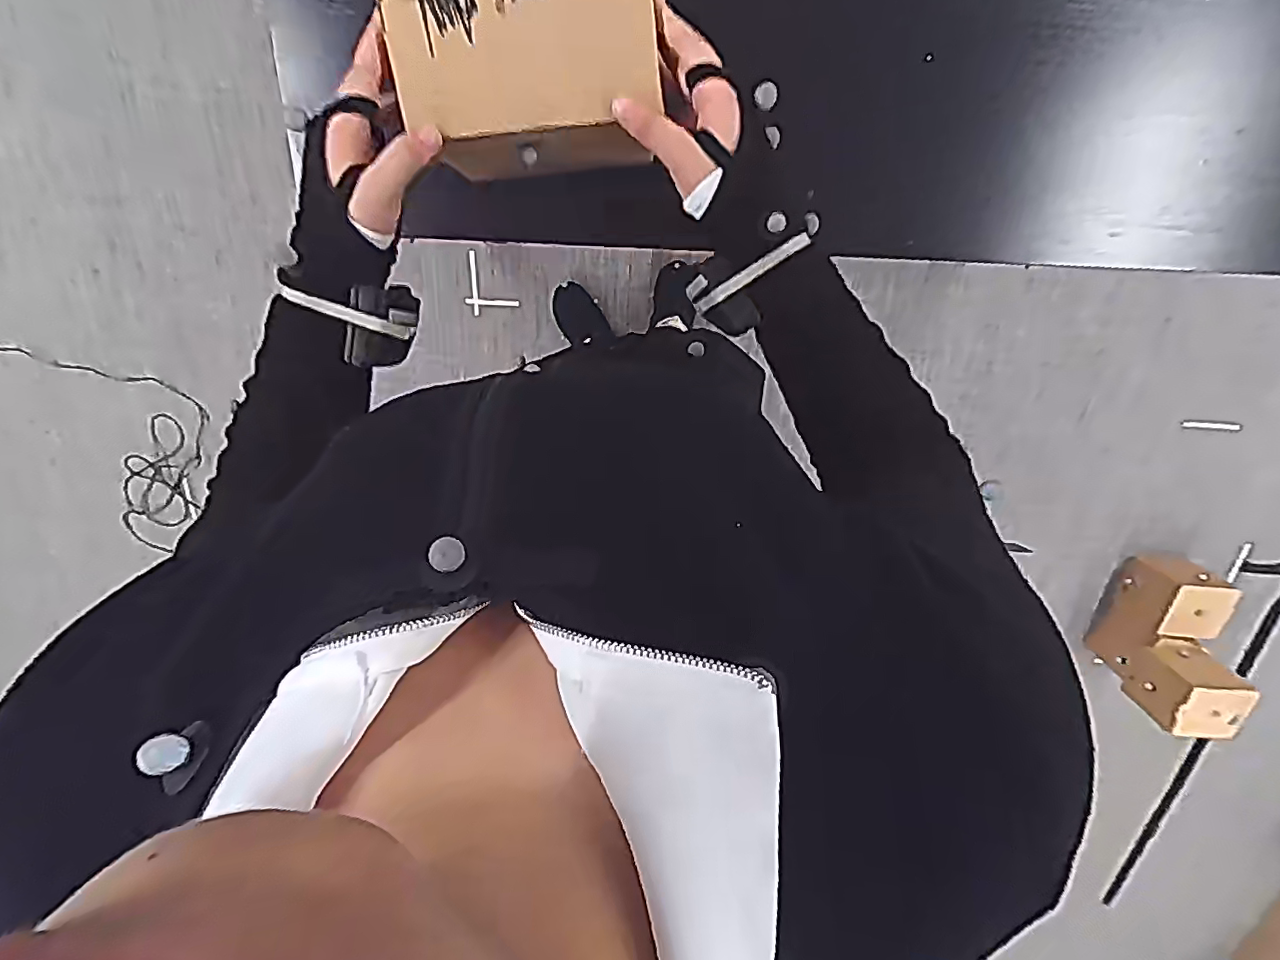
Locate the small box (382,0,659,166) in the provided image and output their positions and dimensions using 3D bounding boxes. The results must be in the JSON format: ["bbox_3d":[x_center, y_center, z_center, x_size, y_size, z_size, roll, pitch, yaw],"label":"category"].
[{"bbox_3d":[-0.081,-0.351,0.413,0.179,0.176,0.168,-6,113,0],"label":"small box"}]

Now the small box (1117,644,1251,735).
[{"bbox_3d":[1.501,0.578,1.507,0.179,0.176,0.168,4,112,0],"label":"small box"}]
